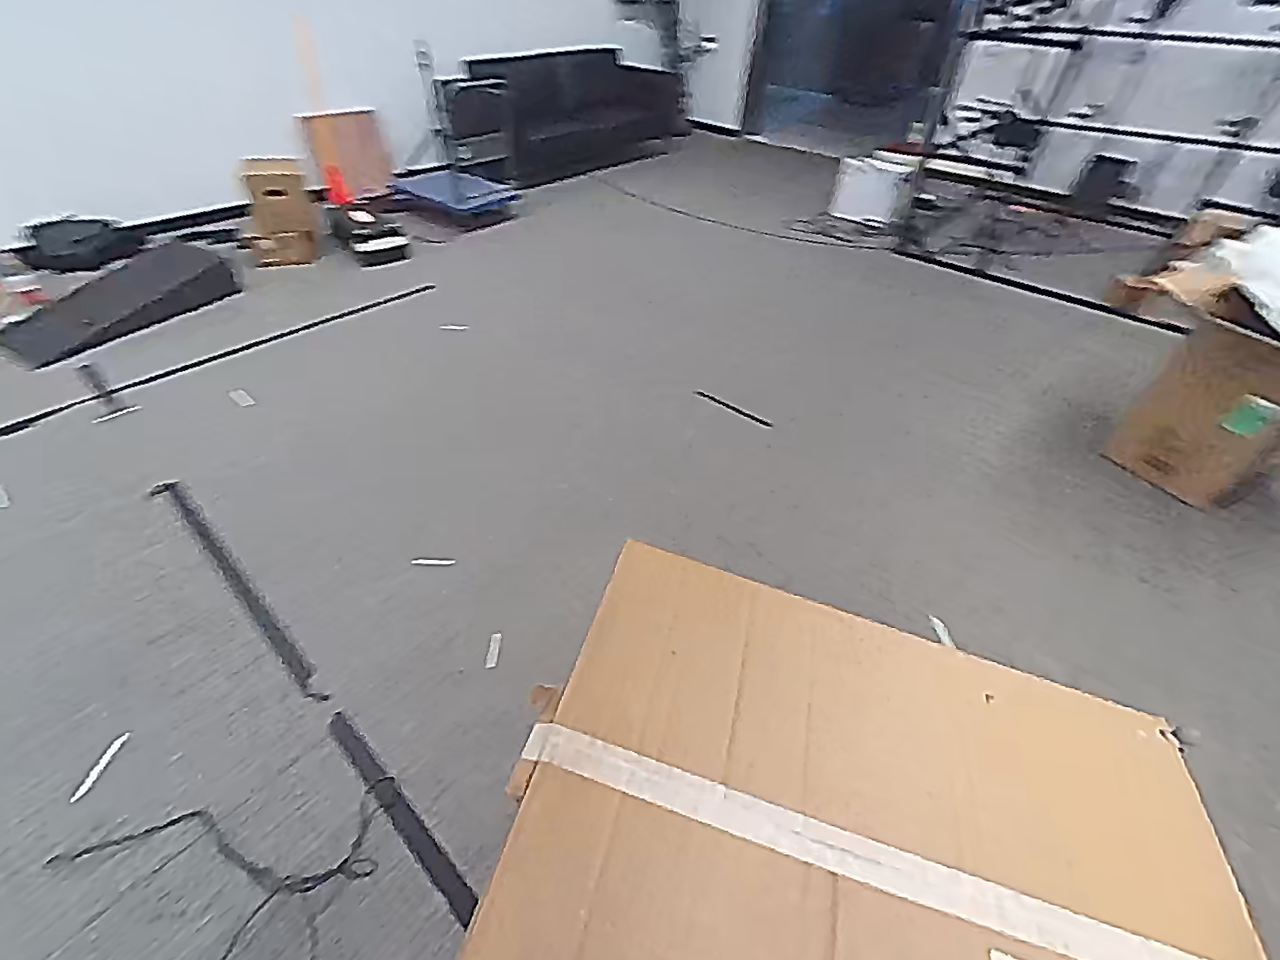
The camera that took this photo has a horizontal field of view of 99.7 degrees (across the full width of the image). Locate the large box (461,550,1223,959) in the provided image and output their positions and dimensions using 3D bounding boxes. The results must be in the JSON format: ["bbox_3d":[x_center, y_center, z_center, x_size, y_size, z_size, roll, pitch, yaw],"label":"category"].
[{"bbox_3d":[0.102,0.312,0.411,0.408,0.320,0.320,18,47,3],"label":"large box"}]
